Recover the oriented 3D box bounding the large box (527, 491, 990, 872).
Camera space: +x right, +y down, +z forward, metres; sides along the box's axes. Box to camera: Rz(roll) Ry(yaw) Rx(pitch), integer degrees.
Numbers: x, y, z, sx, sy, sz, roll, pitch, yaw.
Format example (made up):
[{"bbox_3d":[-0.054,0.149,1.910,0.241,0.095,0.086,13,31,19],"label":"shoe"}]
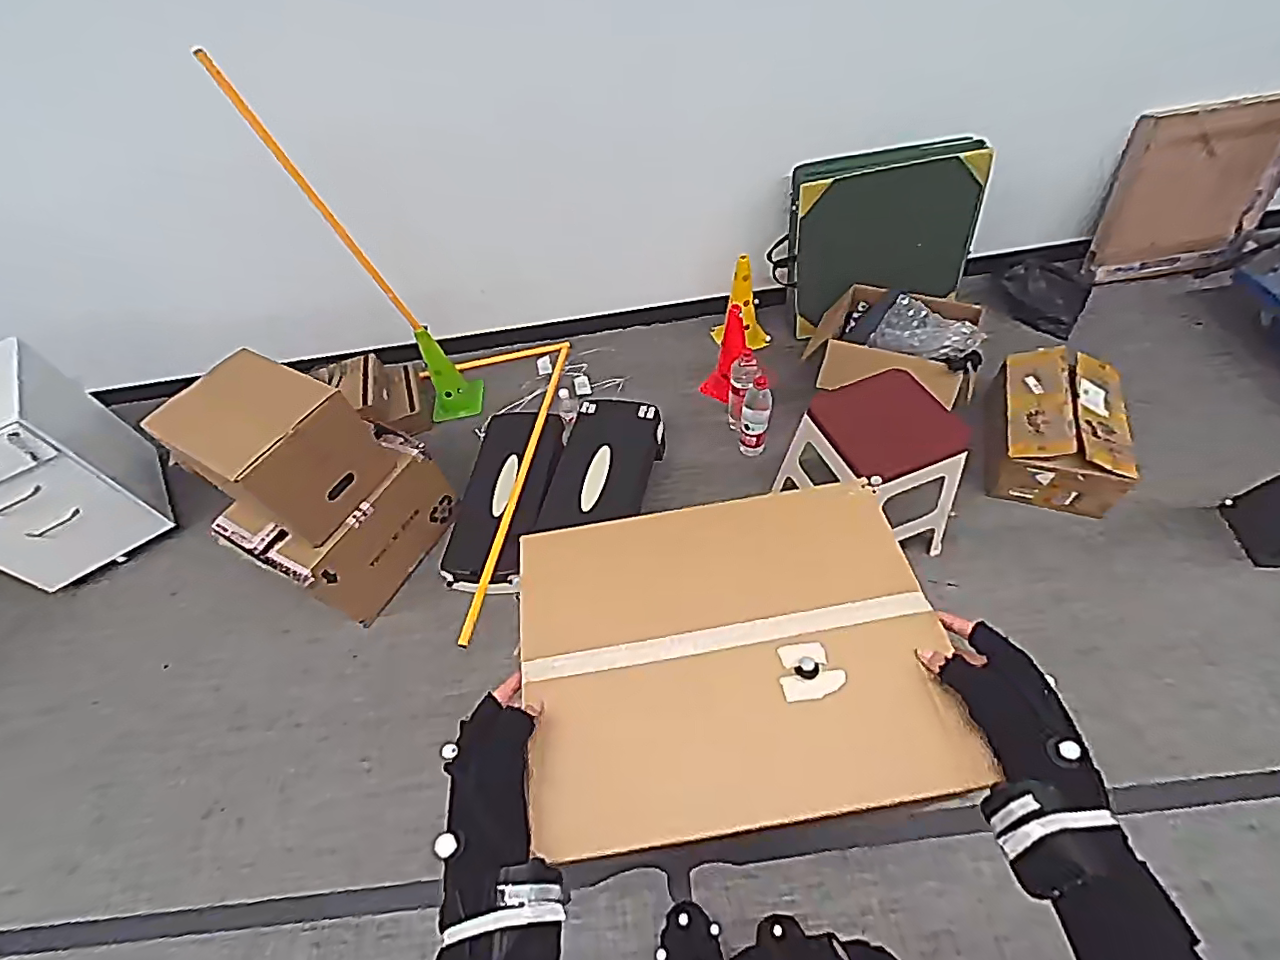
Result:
[{"bbox_3d":[0.097,0.255,0.662,0.408,0.320,0.320,-10,53,0],"label":"large box"}]
